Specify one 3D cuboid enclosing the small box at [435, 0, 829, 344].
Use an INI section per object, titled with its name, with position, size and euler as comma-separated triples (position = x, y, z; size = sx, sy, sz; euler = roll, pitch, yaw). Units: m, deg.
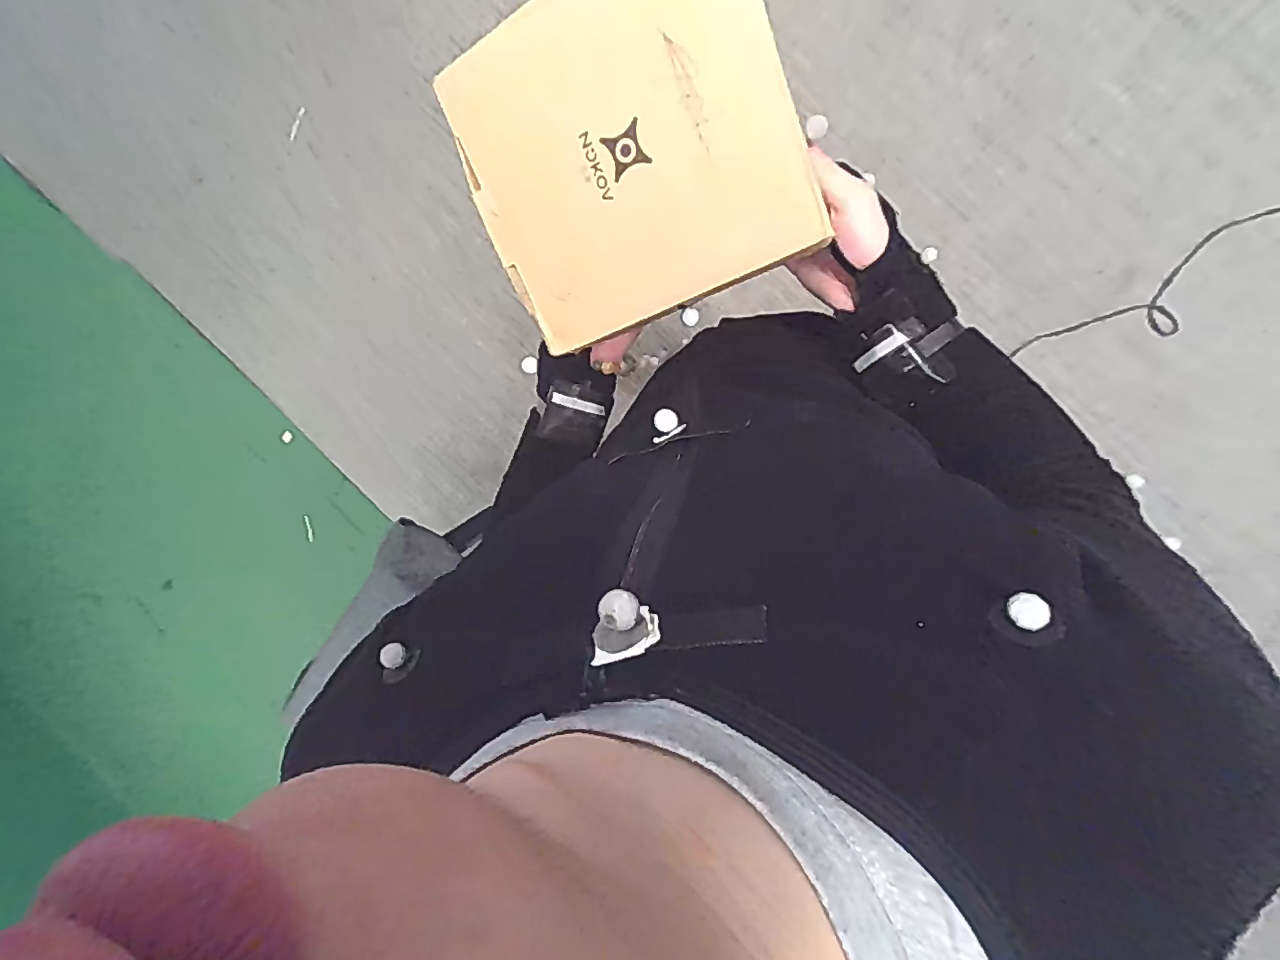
[small box]
position = 0.014, -0.206, 0.353
size = 0.179, 0.176, 0.168
euler = -18, 106, 24
